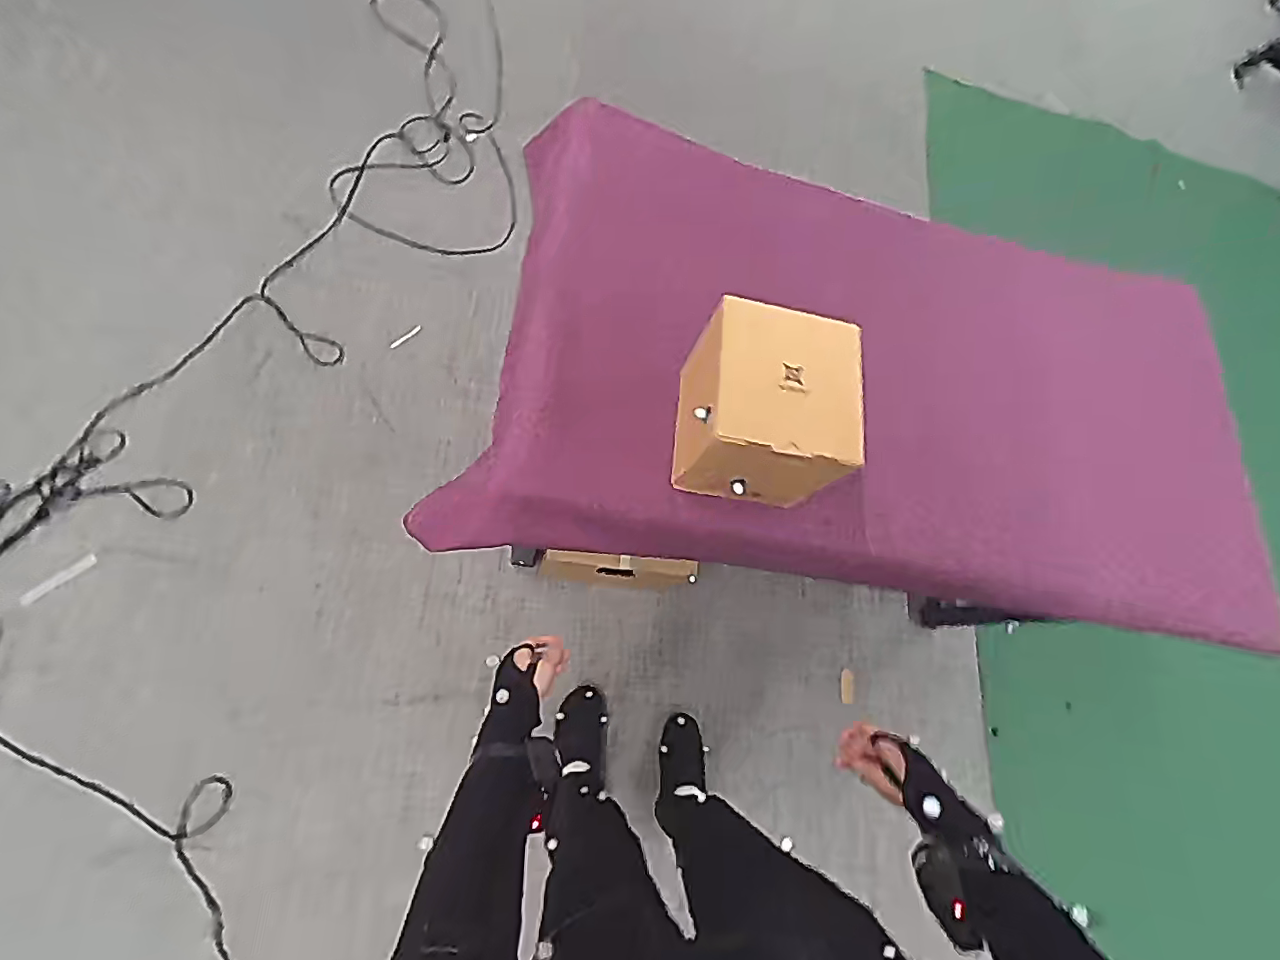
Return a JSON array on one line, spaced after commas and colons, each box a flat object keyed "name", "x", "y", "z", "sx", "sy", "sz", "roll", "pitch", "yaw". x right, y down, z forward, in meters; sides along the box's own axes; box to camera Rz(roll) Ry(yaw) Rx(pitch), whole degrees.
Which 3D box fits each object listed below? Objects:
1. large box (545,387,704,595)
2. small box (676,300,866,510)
[{"name": "large box", "x": -0.041, "y": 0.045, "z": 1.278, "sx": 0.320, "sy": 0.320, "sz": 0.408, "roll": 9, "pitch": 72, "yaw": -9}, {"name": "small box", "x": 0.146, "y": -0.078, "z": 0.649, "sx": 0.168, "sy": 0.176, "sz": 0.179, "roll": 10, "pitch": 70, "yaw": -10}]
